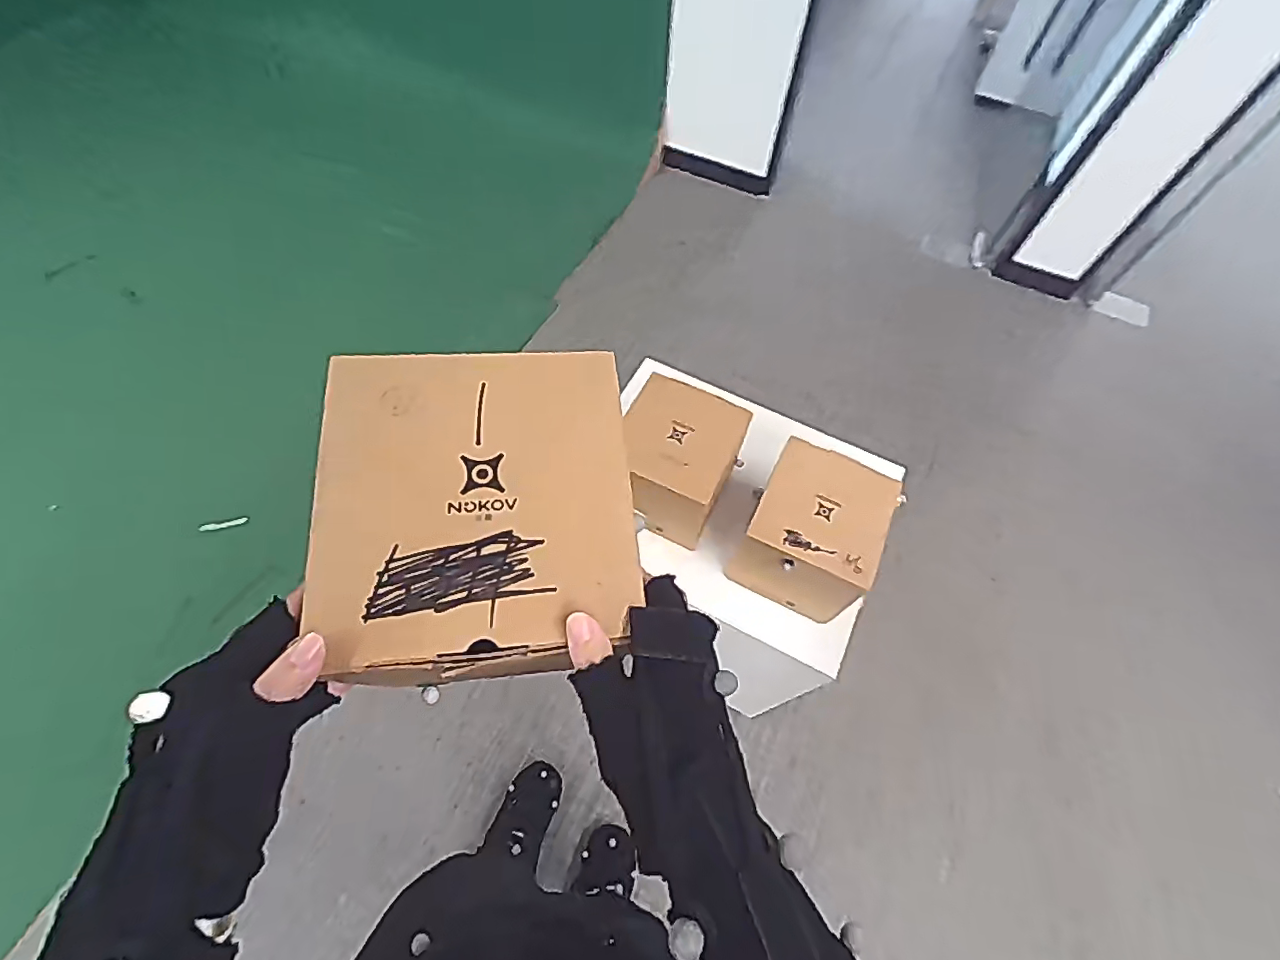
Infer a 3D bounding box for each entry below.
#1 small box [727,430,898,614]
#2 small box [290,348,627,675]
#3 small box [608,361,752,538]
[{"bbox_3d":[0.240,0.066,0.786,0.168,0.176,0.179,25,63,11],"label":"small box"},{"bbox_3d":[-0.104,0.033,0.368,0.168,0.176,0.179,-4,67,-10],"label":"small box"},{"bbox_3d":[0.051,-0.041,0.822,0.168,0.176,0.179,23,65,11],"label":"small box"}]
